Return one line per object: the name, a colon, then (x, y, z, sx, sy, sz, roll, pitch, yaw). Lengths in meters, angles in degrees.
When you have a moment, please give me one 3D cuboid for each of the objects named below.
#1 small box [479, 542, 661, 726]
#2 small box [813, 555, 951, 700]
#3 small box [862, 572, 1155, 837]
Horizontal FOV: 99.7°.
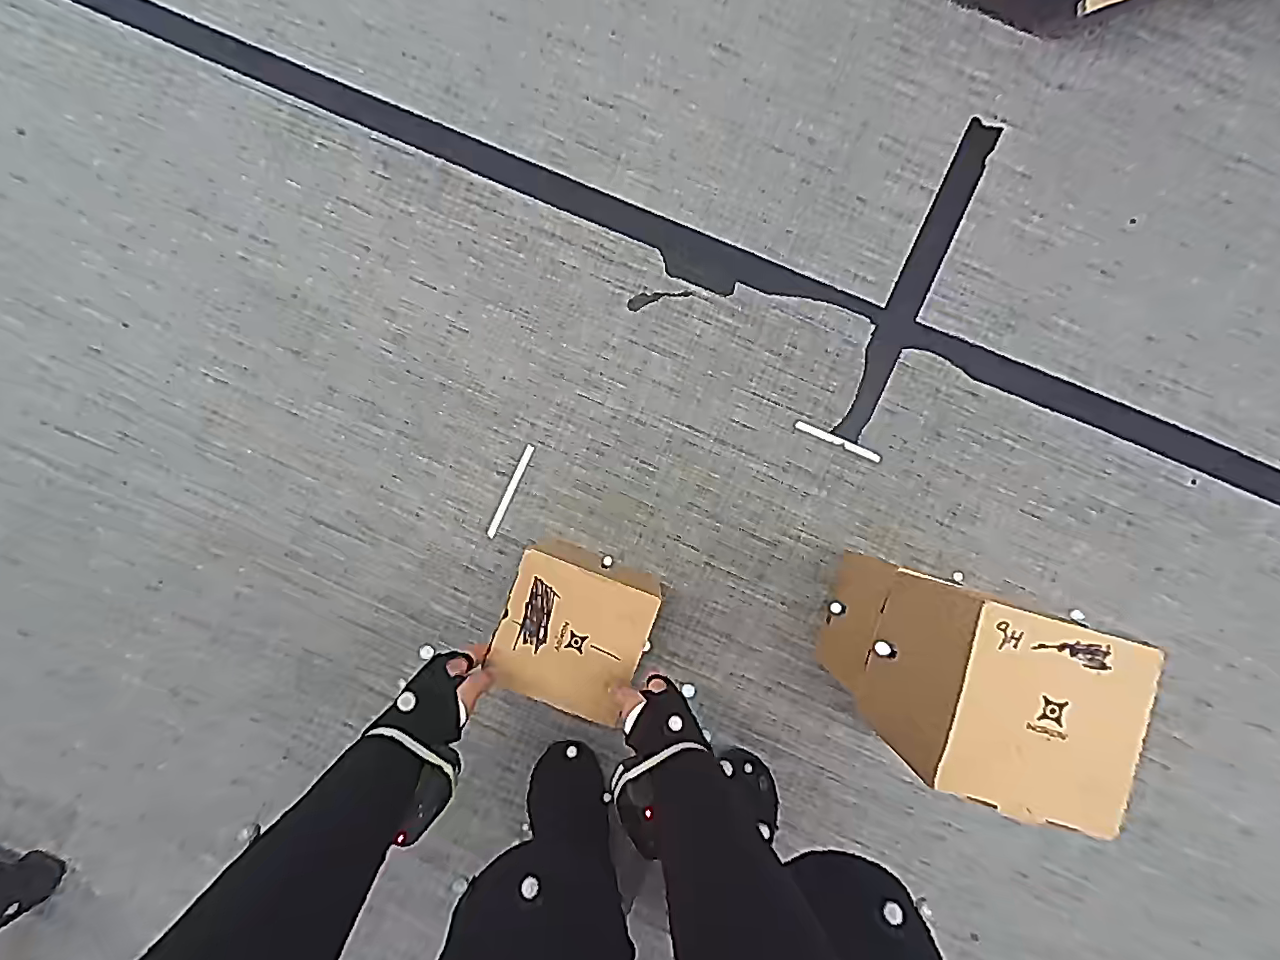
small box: (-0.083, 0.189, 0.722, 0.179, 0.176, 0.168, 21, 89, 1)
small box: (0.359, 0.207, 0.720, 0.179, 0.176, 0.168, 18, 89, 1)
small box: (0.353, 0.210, 0.557, 0.168, 0.176, 0.179, 17, 89, 1)
